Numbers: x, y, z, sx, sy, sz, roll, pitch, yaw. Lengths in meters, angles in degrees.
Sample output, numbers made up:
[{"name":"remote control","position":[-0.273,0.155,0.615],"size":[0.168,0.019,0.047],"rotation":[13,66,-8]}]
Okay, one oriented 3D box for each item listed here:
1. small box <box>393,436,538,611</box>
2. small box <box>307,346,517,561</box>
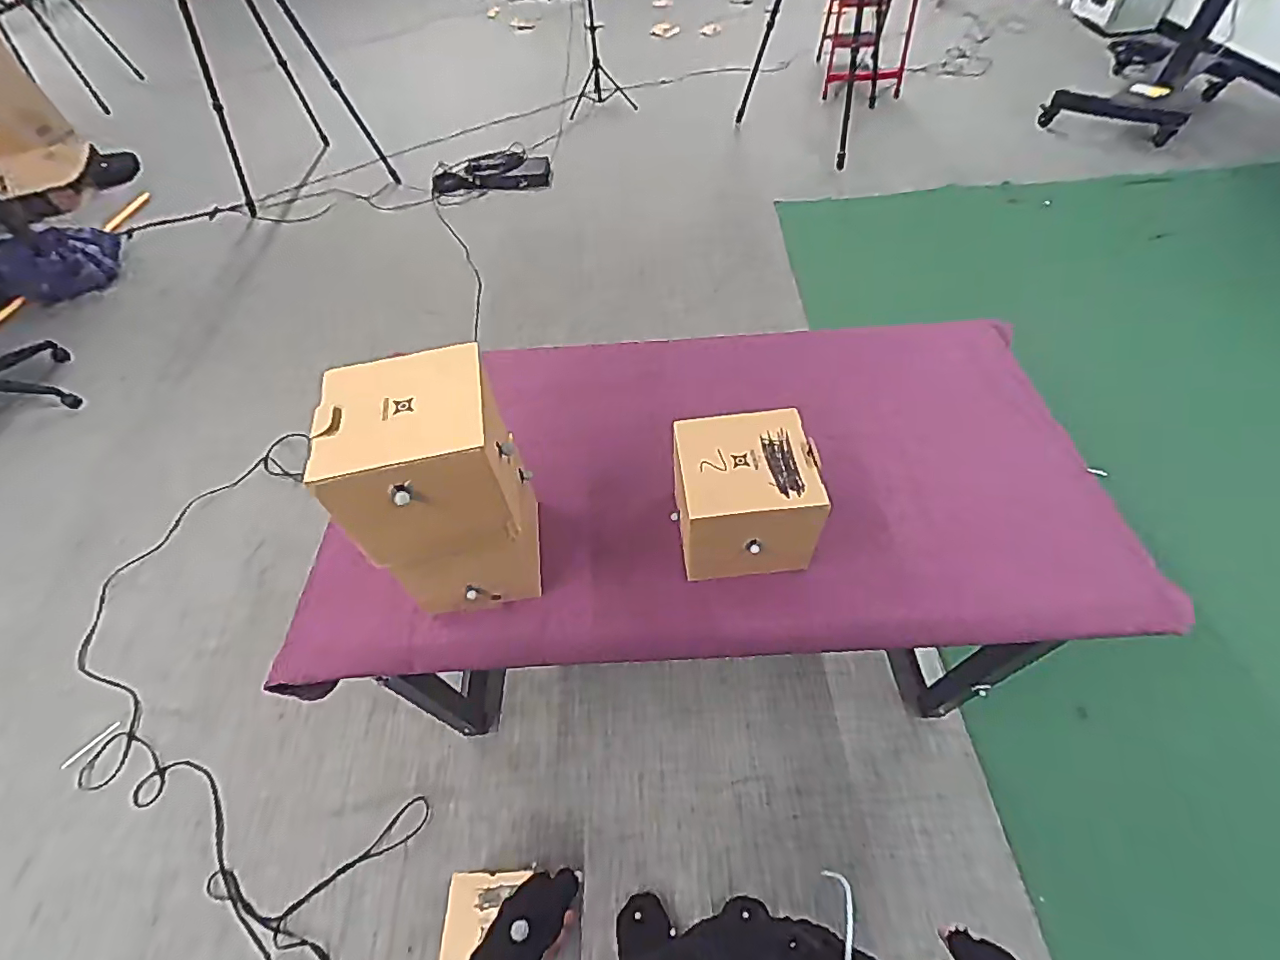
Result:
[{"name":"small box","position":[-0.243,0.064,0.769],"size":[0.168,0.176,0.179],"rotation":[-8,53,-2]},{"name":"small box","position":[-0.246,-0.026,0.632],"size":[0.179,0.176,0.168],"rotation":[-12,53,-5]}]
